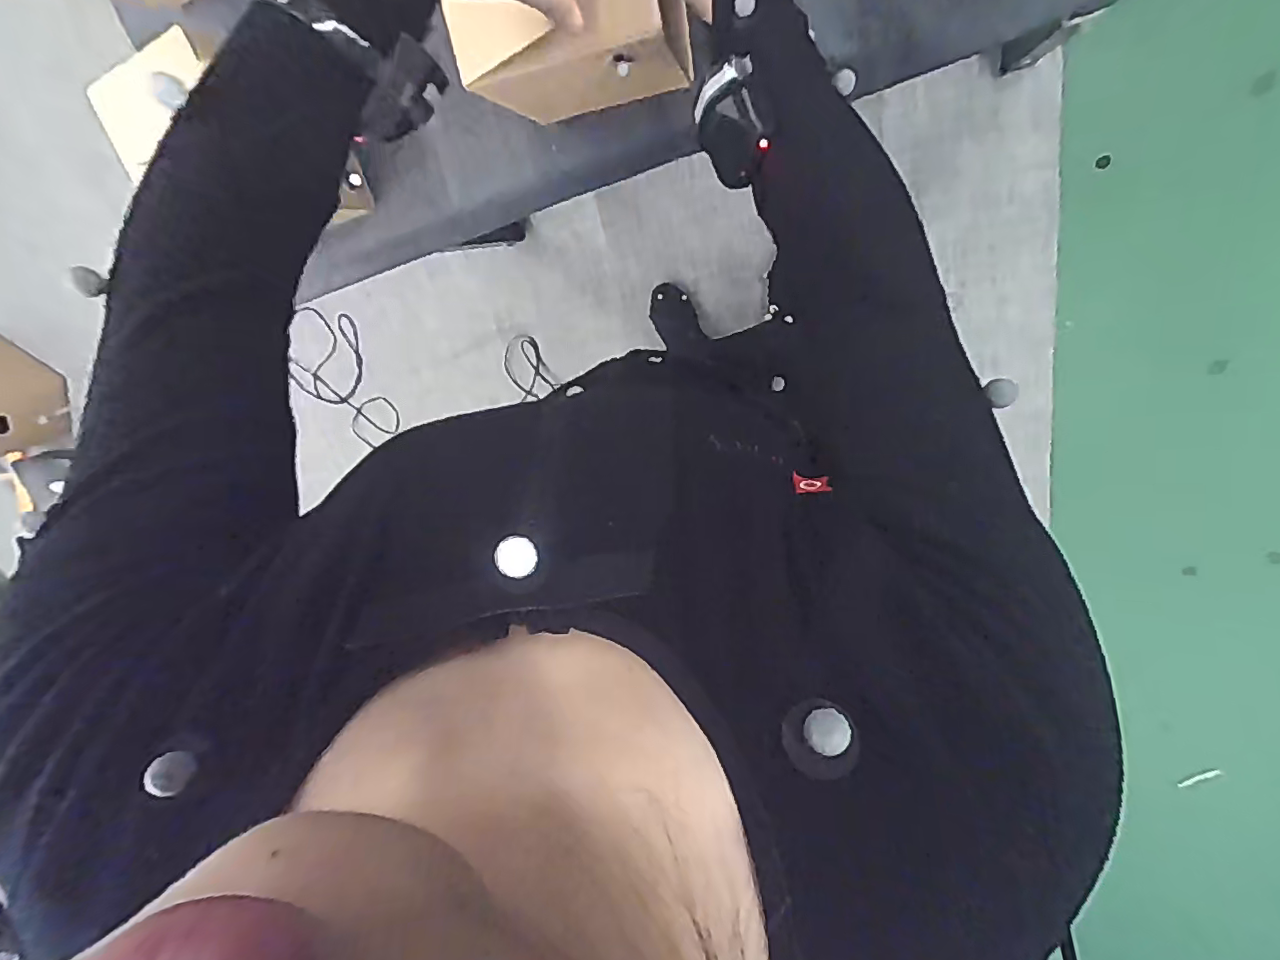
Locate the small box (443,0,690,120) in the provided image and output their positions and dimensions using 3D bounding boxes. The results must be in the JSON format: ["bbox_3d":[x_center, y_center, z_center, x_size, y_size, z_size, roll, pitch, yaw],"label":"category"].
[{"bbox_3d":[-0.061,-0.442,0.476,0.179,0.176,0.168,-4,113,15],"label":"small box"}]

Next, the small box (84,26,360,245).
[{"bbox_3d":[-0.470,-0.390,0.643,0.179,0.176,0.168,-6,113,22],"label":"small box"}]
